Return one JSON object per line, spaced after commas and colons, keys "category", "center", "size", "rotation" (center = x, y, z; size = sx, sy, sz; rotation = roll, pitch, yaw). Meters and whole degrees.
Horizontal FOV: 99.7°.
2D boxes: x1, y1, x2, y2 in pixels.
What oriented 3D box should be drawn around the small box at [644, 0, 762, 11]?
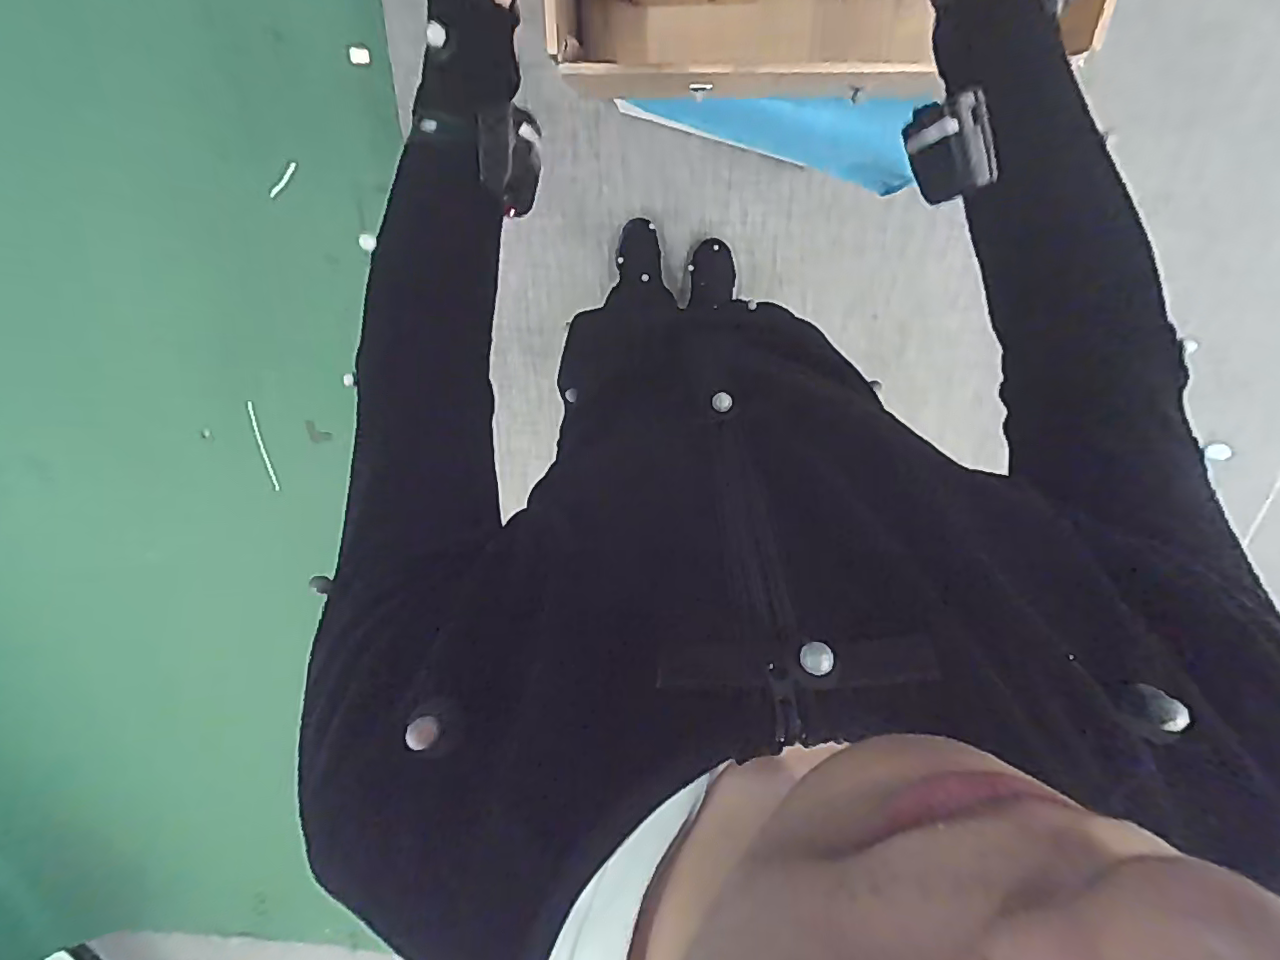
{"category": "small box", "center": [0.074, -0.659, 0.592], "size": [0.168, 0.176, 0.179], "rotation": [2, 114, 3]}
